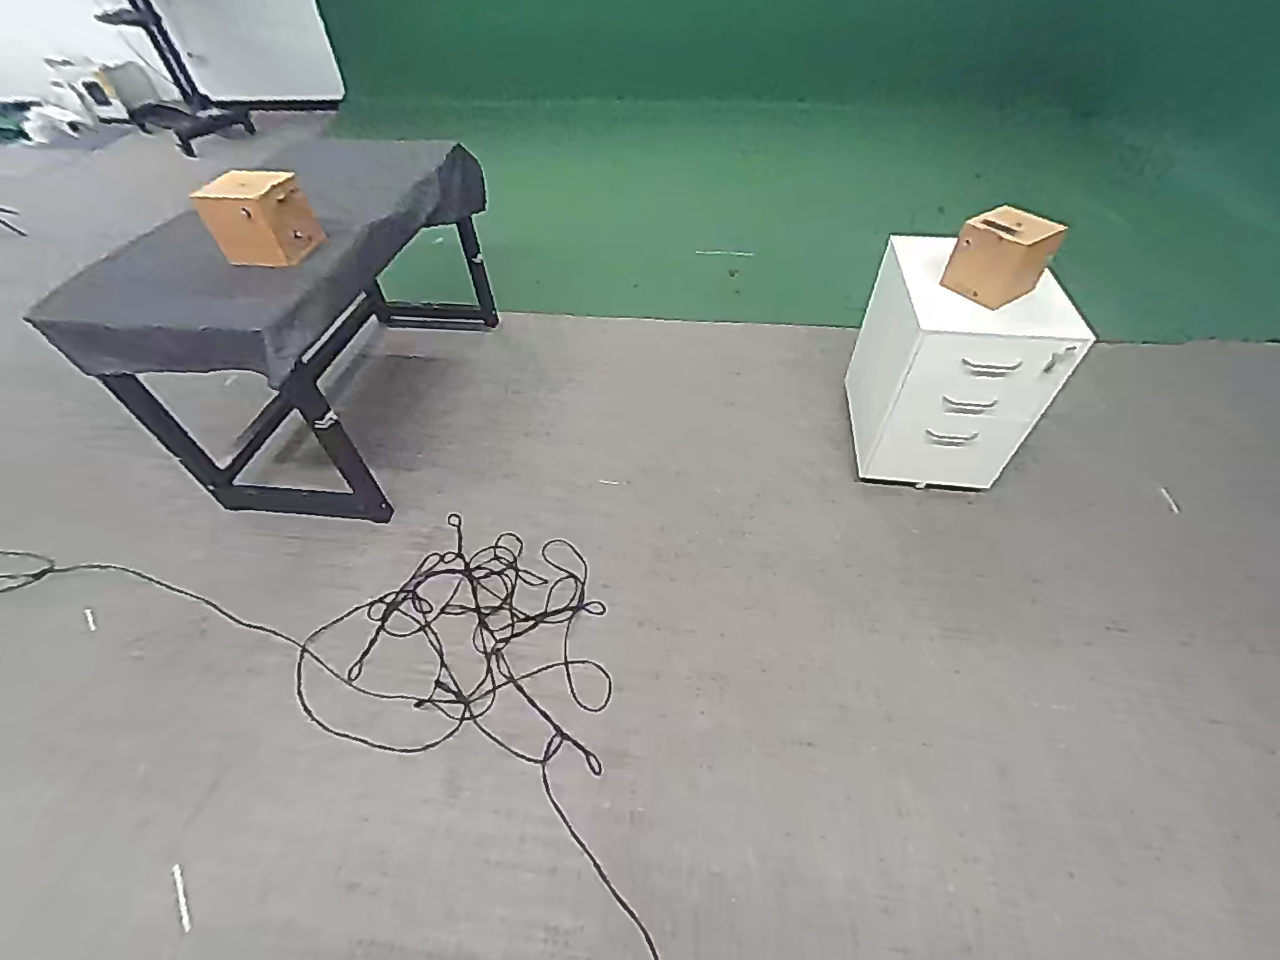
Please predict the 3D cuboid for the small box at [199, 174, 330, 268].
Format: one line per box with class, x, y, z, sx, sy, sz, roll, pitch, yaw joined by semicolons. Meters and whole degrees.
small box;-0.936;-0.653;1.366;0.179;0.176;0.168;6;48;6
